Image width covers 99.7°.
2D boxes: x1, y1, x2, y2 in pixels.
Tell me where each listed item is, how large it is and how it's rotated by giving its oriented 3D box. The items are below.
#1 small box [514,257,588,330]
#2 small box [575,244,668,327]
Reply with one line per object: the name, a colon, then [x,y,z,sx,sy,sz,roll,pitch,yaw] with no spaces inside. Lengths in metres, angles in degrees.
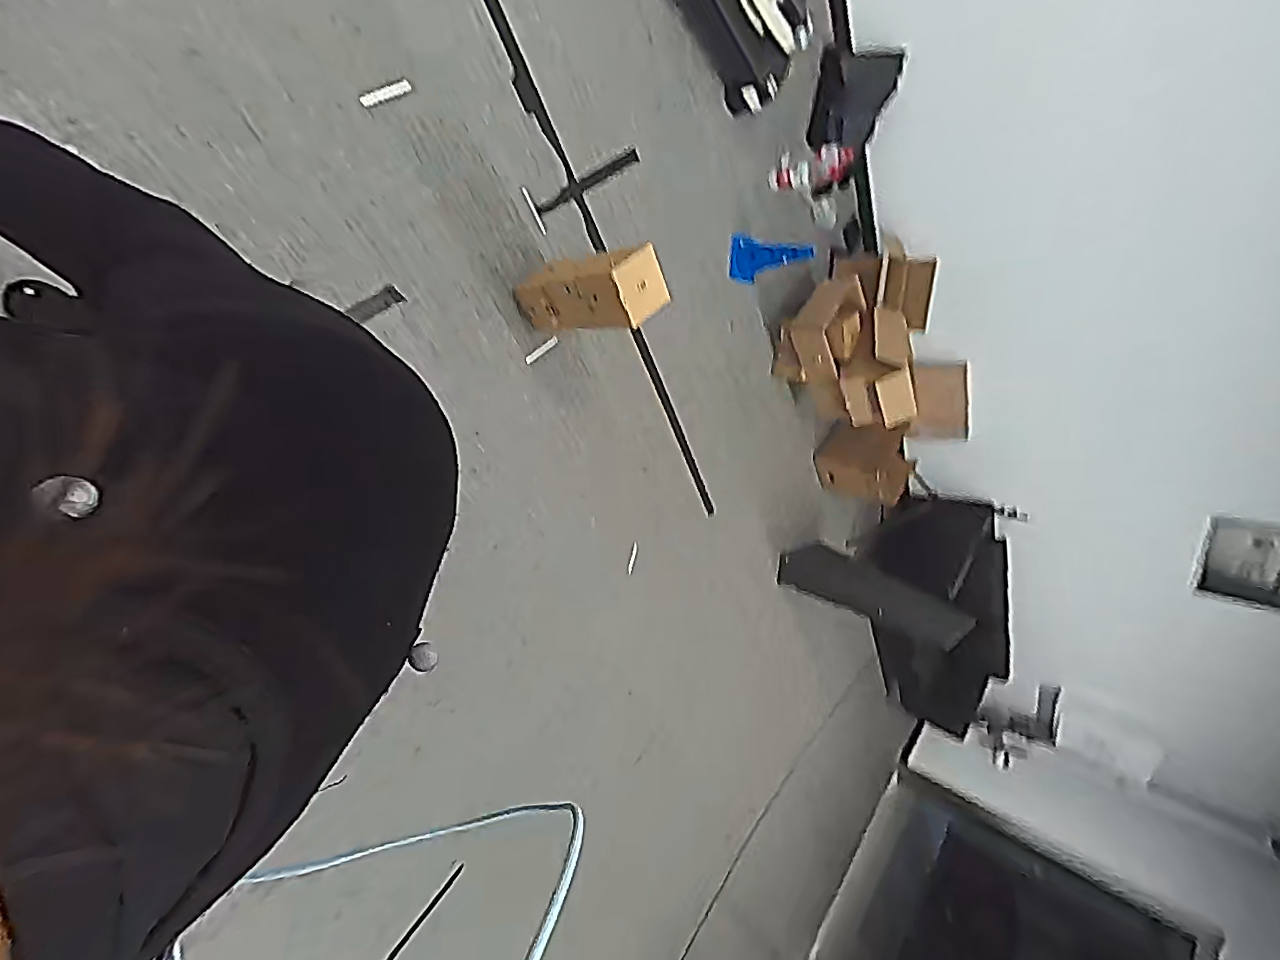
small box: [-0.282,-0.615,1.788,0.179,0.176,0.168,-48,130,-23]
small box: [-0.054,-0.559,1.559,0.179,0.176,0.168,-46,130,-26]
